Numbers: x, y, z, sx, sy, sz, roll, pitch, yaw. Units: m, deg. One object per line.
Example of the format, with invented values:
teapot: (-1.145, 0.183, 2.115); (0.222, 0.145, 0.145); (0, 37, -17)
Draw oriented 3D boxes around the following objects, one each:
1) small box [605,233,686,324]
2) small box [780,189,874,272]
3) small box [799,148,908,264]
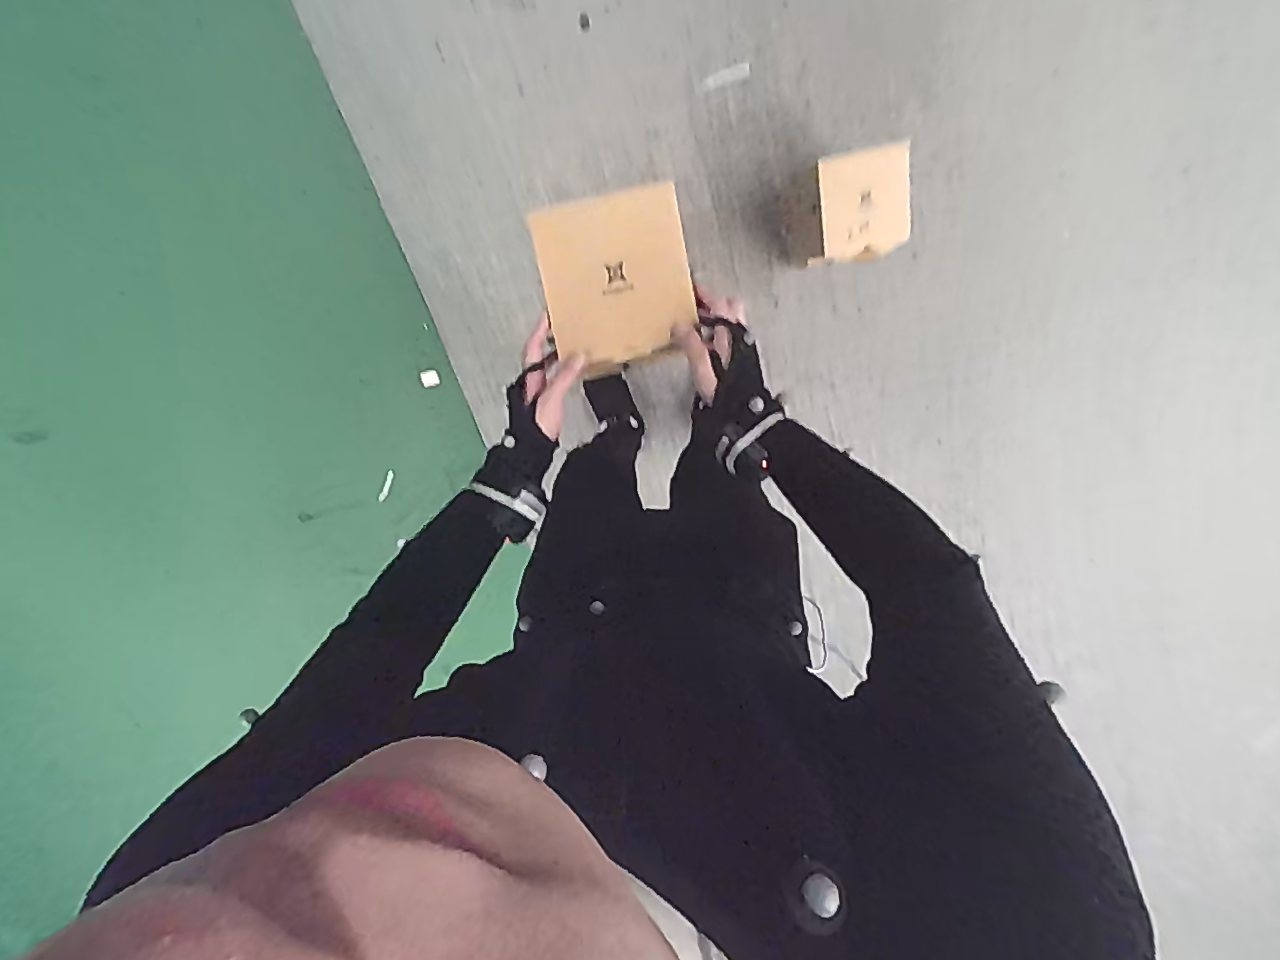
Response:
small box: (0.017, -0.496, 1.332); (0.168, 0.176, 0.179); (-11, 110, 5)
small box: (0.437, -0.599, 1.263); (0.168, 0.176, 0.179); (-14, 111, 7)
small box: (0.430, -0.548, 1.106); (0.168, 0.176, 0.179); (-9, 111, 6)
